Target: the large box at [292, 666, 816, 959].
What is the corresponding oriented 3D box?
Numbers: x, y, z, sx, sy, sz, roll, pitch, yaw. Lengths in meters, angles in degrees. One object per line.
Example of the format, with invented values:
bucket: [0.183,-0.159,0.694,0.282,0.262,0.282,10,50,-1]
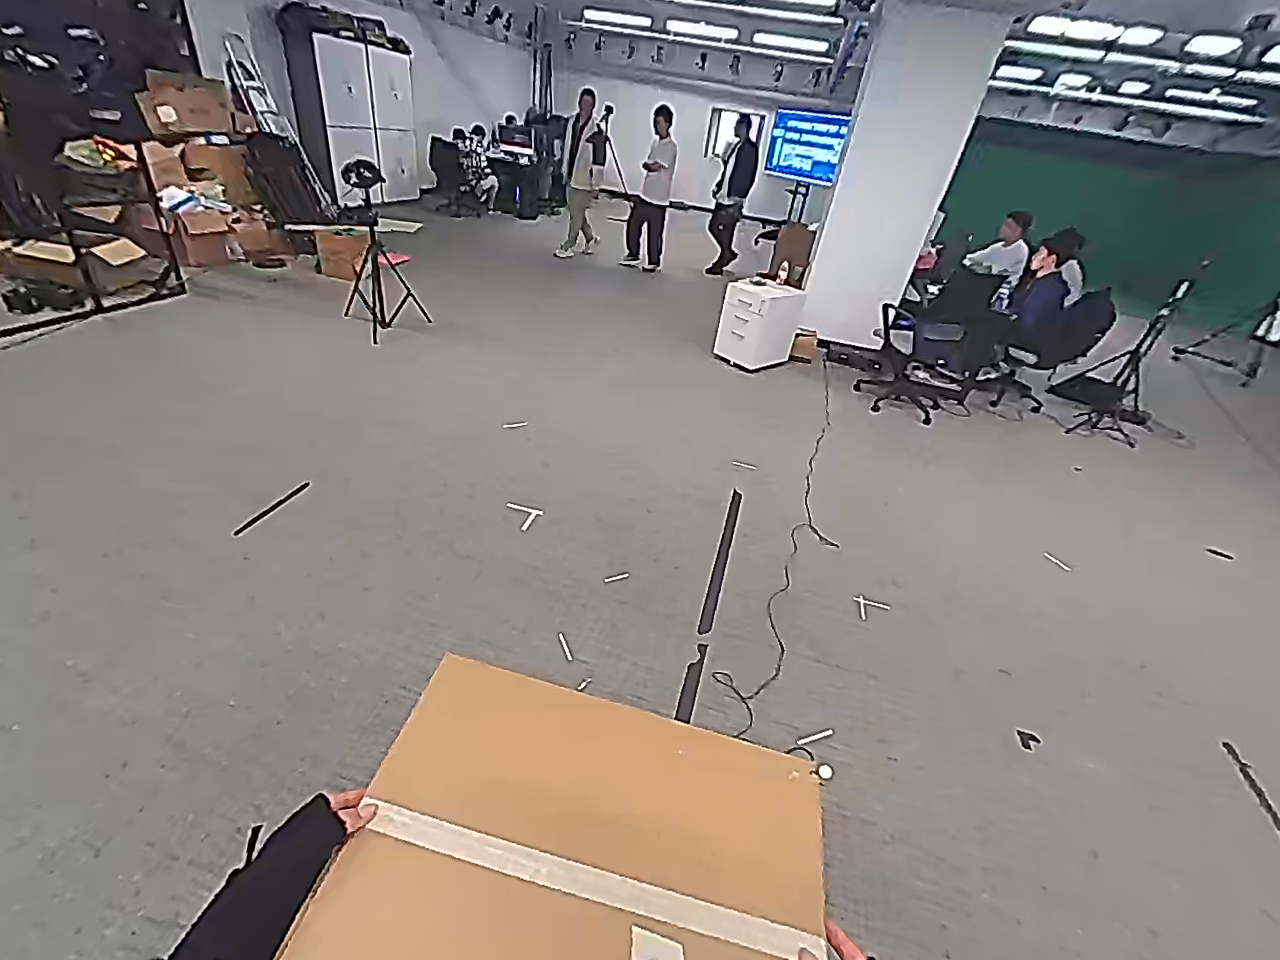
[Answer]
large box: [-0.072,0.453,0.552,0.408,0.320,0.320,16,40,2]
